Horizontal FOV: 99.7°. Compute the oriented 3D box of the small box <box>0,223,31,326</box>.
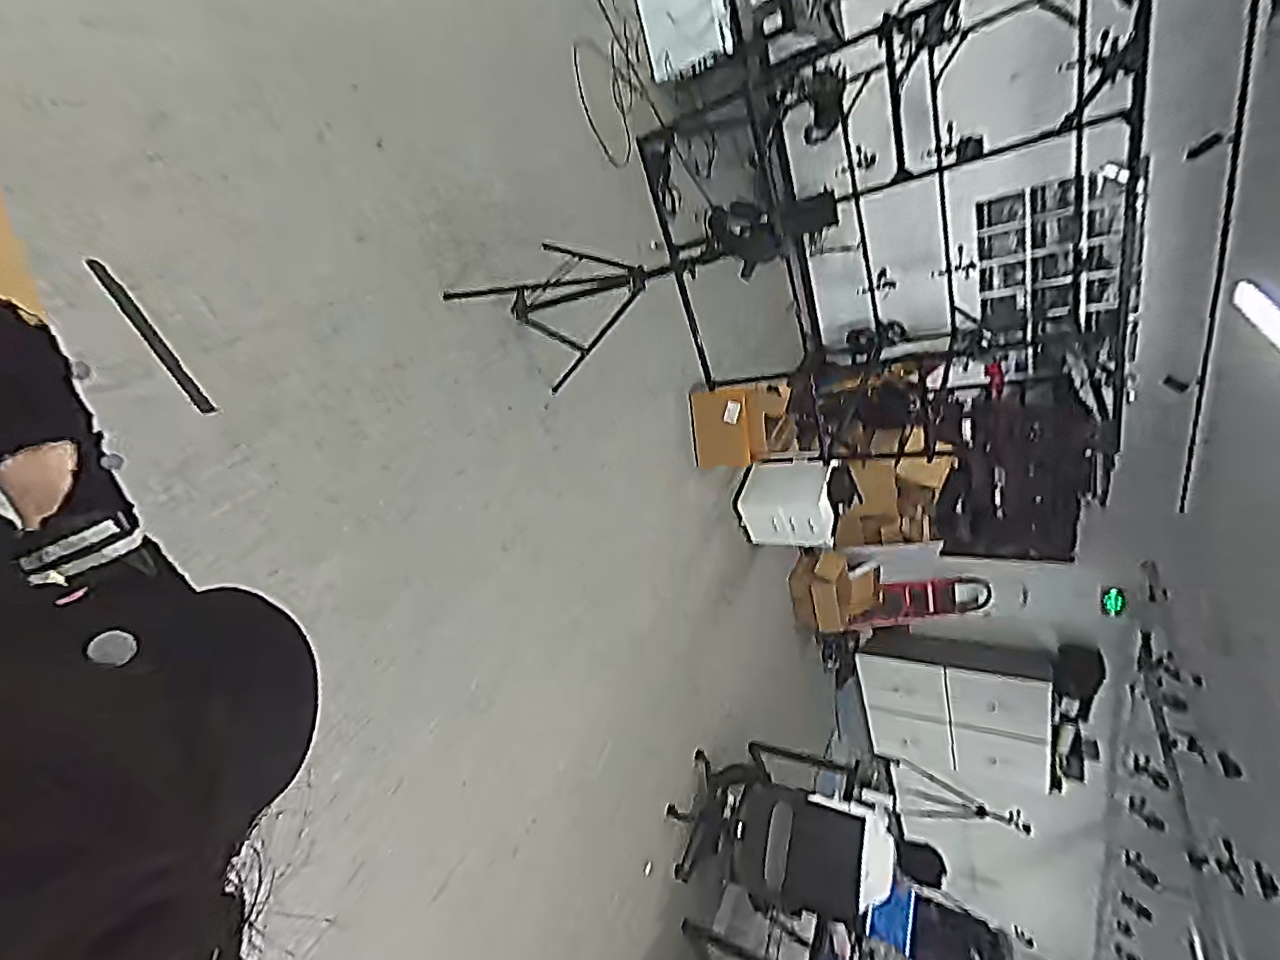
[{"bbox_3d":[-0.559,-0.169,0.324,0.168,0.176,0.179,60,-10,12],"label":"small box"}]
